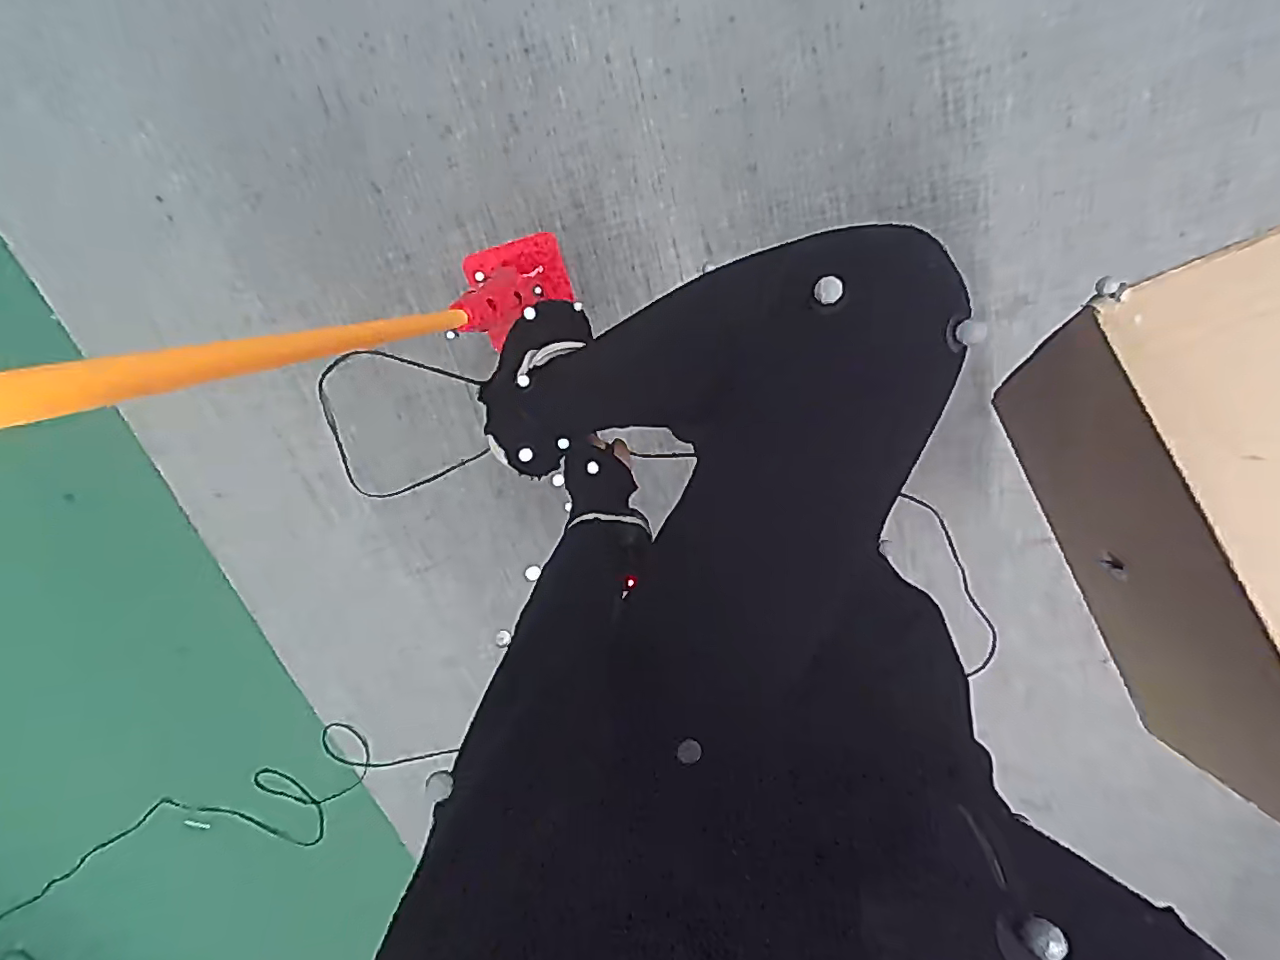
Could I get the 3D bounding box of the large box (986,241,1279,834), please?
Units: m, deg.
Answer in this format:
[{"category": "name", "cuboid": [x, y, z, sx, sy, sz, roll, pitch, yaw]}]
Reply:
[{"category": "large box", "cuboid": [0.562, 0.031, 0.450, 0.320, 0.320, 0.408, -22, 77, 19]}]
